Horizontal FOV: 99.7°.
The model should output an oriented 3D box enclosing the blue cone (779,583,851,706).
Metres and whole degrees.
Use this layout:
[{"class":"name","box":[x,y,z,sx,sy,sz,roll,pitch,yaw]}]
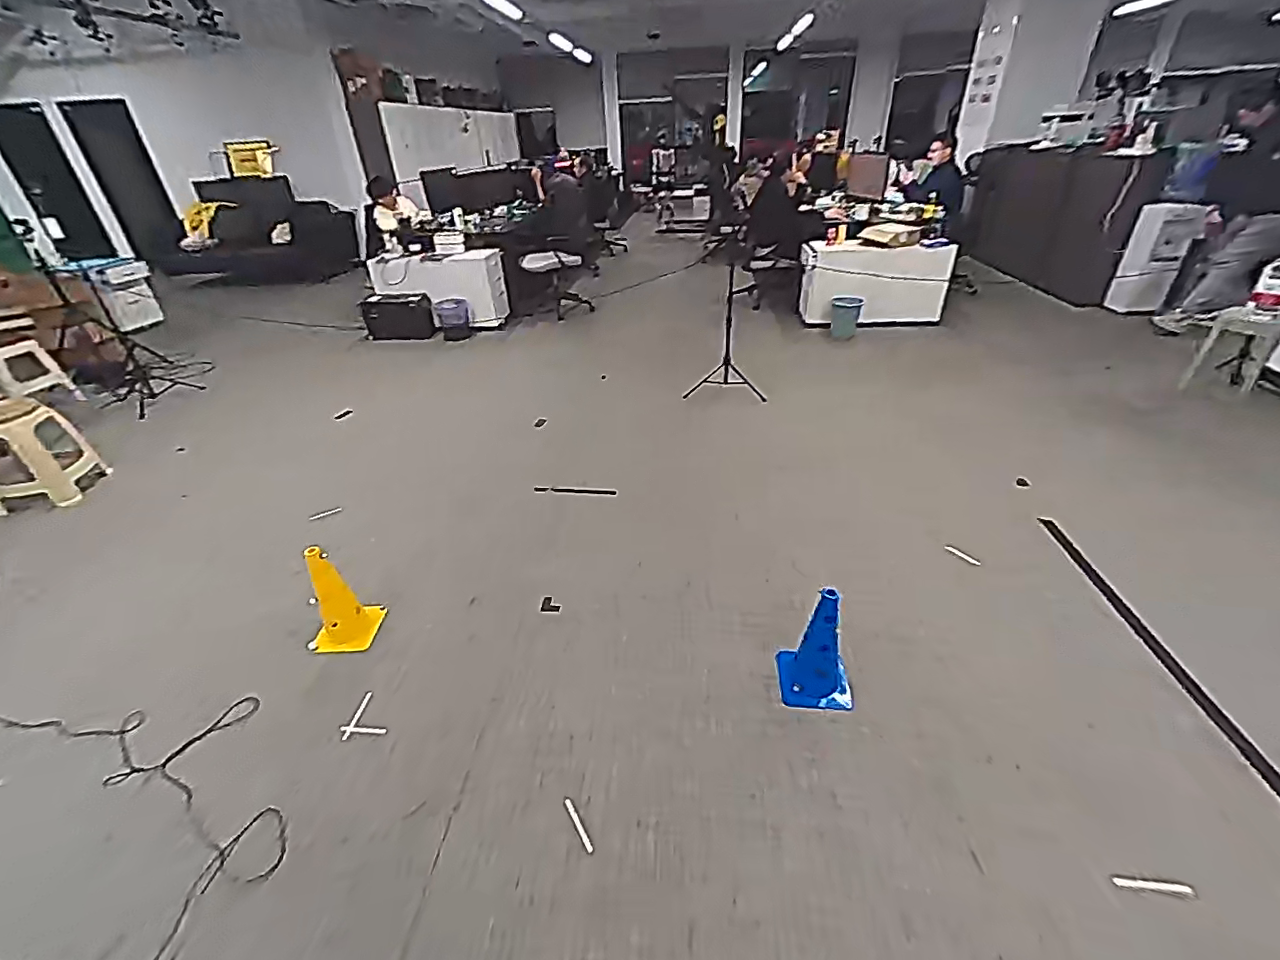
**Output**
[{"class":"blue cone","box":[0.515,0.449,1.529,0.193,0.380,0.192,2,32,7]}]
